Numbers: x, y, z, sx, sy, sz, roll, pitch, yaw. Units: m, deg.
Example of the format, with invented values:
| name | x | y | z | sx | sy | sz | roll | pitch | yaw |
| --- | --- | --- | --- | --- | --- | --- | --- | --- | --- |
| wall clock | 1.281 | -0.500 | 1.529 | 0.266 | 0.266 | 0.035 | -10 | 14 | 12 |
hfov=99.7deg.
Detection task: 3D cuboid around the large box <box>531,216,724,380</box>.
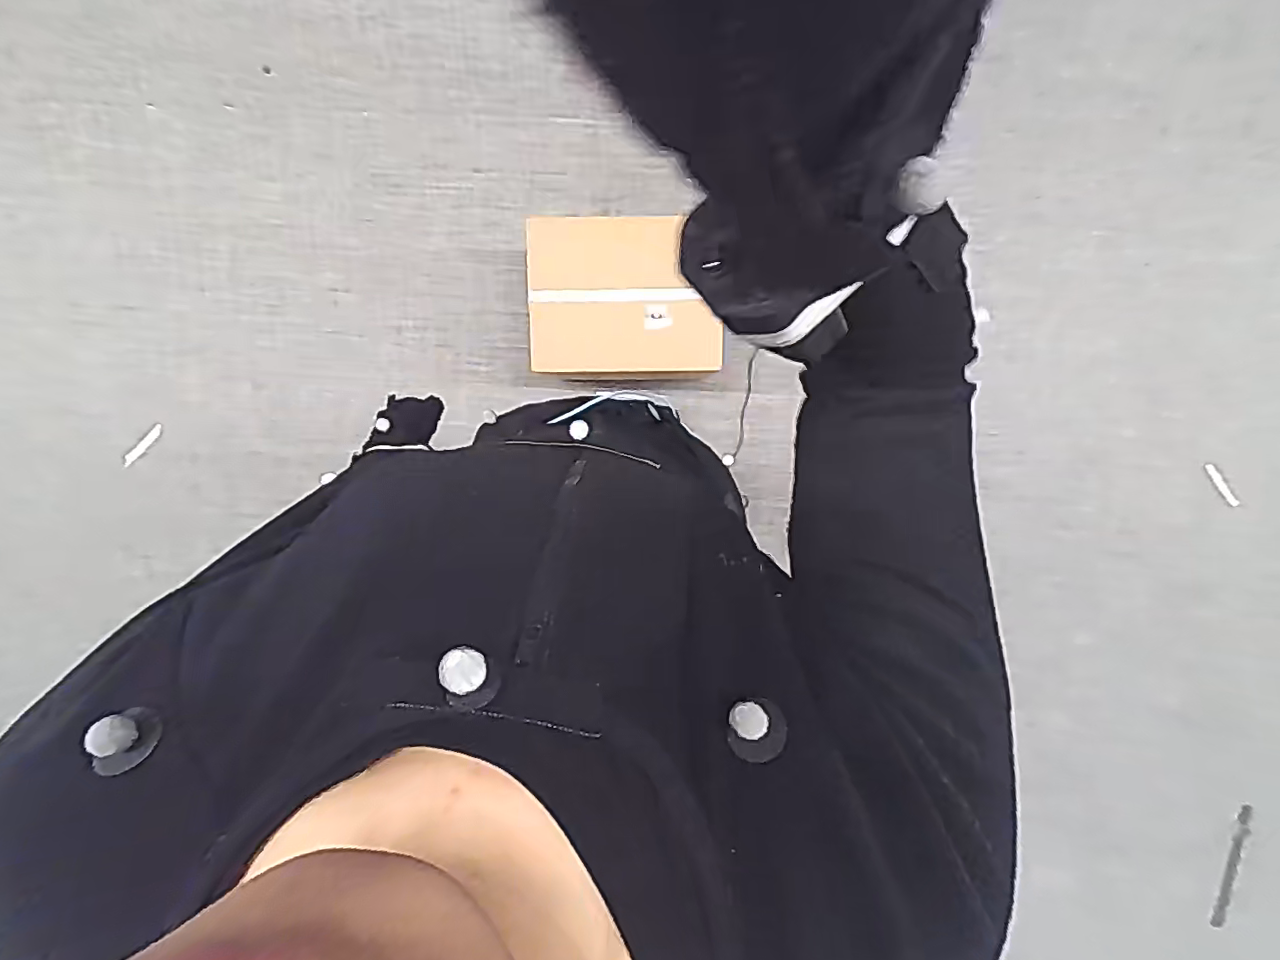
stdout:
| name | x | y | z | sx | sy | sz | roll | pitch | yaw |
| --- | --- | --- | --- | --- | --- | --- | --- | --- | --- |
| large box | -0.024 | -0.407 | 1.280 | 0.408 | 0.320 | 0.320 | 0 | 98 | 1 |
